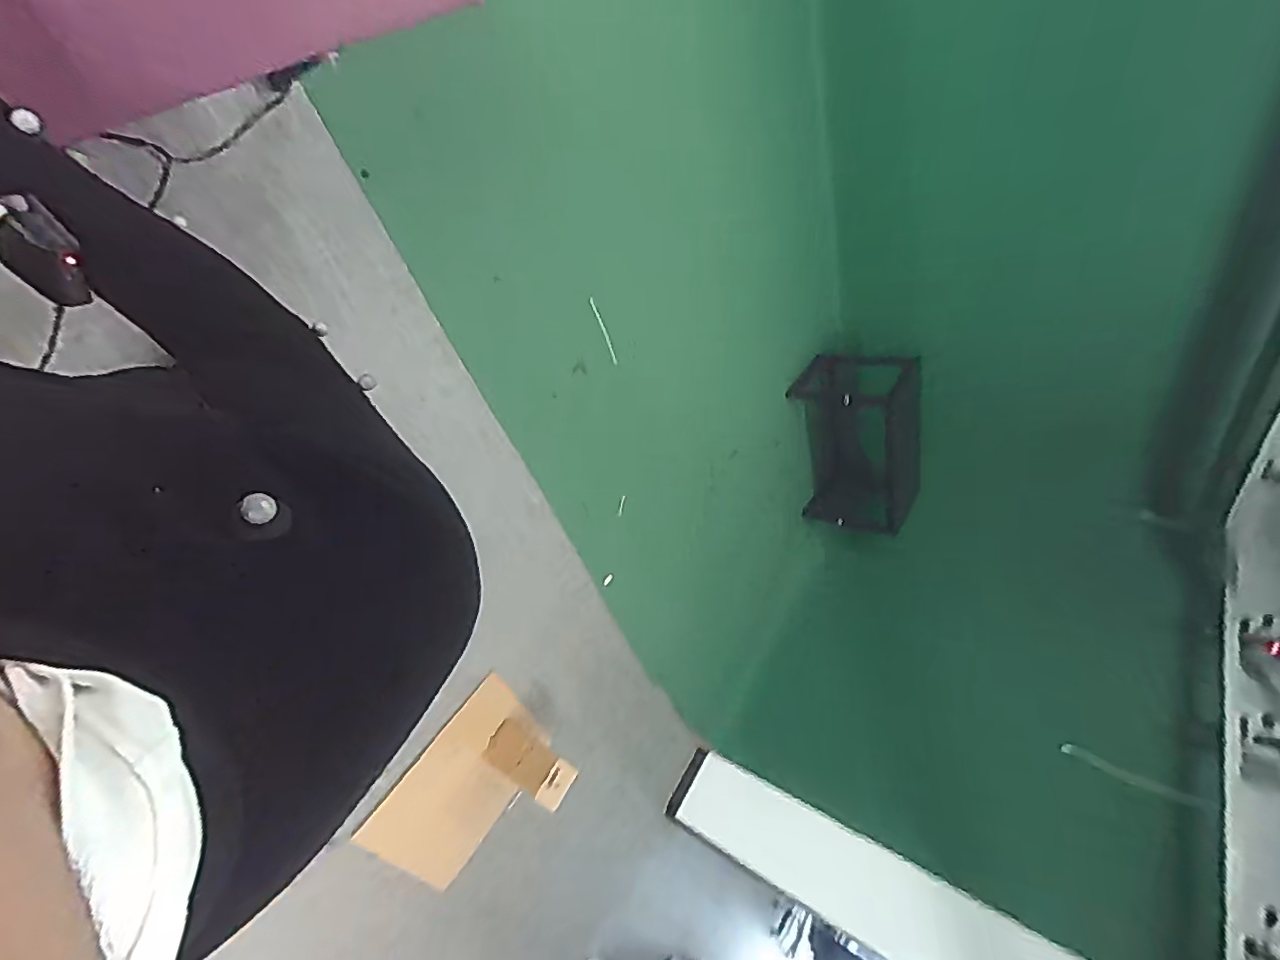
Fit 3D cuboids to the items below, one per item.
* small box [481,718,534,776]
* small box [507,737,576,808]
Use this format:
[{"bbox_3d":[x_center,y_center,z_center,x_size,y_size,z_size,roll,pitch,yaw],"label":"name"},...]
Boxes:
[{"bbox_3d":[-0.518,1.119,2.236,0.168,0.176,0.179,-55,137,-26],"label":"small box"},{"bbox_3d":[-0.391,1.149,2.136,0.168,0.176,0.179,-53,137,-28],"label":"small box"}]
